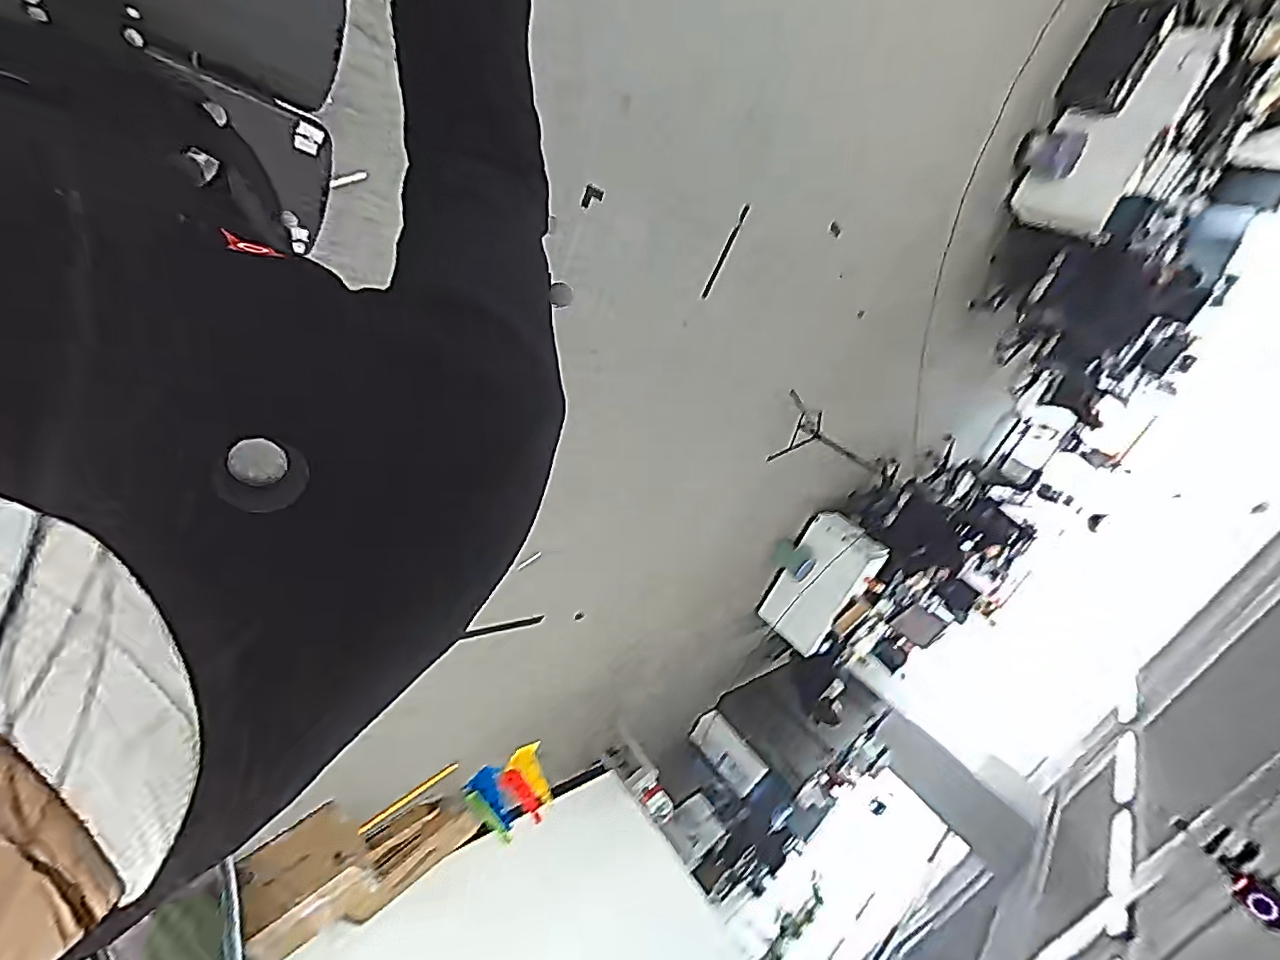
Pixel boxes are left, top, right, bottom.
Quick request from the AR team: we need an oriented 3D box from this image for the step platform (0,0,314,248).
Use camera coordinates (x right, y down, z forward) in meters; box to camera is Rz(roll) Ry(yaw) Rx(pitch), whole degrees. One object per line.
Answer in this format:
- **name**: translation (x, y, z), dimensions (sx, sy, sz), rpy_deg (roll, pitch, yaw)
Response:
- **step platform**: translation (-0.984, -0.666, 0.971), dimensions (0.684, 0.204, 0.286), rpy_deg (2, 120, -45)
